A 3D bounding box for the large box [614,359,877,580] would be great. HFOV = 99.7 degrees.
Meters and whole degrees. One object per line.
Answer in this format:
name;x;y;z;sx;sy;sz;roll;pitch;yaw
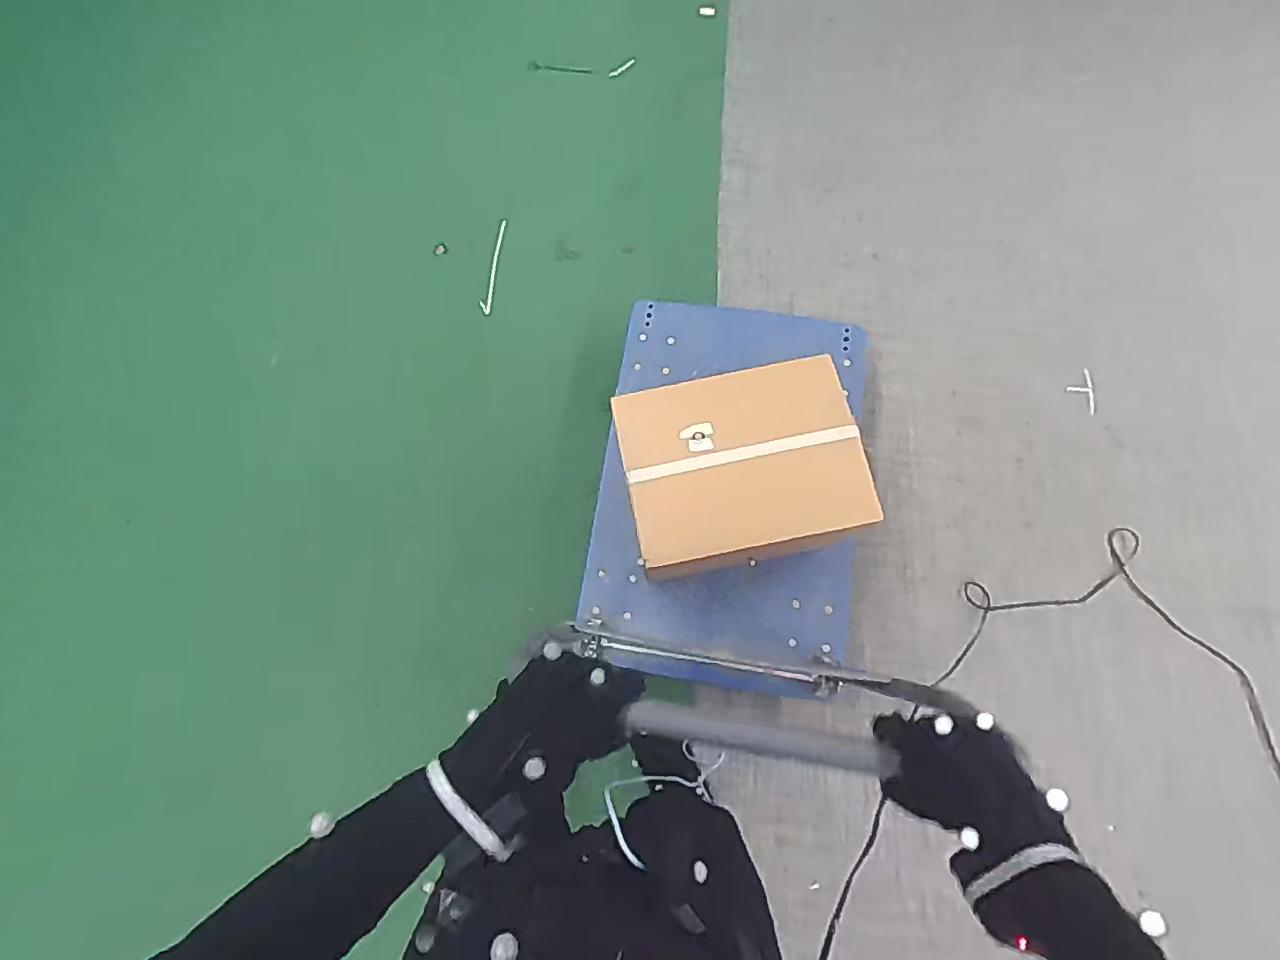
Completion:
large box;0.184;0.001;1.083;0.408;0.320;0.320;-12;74;0
